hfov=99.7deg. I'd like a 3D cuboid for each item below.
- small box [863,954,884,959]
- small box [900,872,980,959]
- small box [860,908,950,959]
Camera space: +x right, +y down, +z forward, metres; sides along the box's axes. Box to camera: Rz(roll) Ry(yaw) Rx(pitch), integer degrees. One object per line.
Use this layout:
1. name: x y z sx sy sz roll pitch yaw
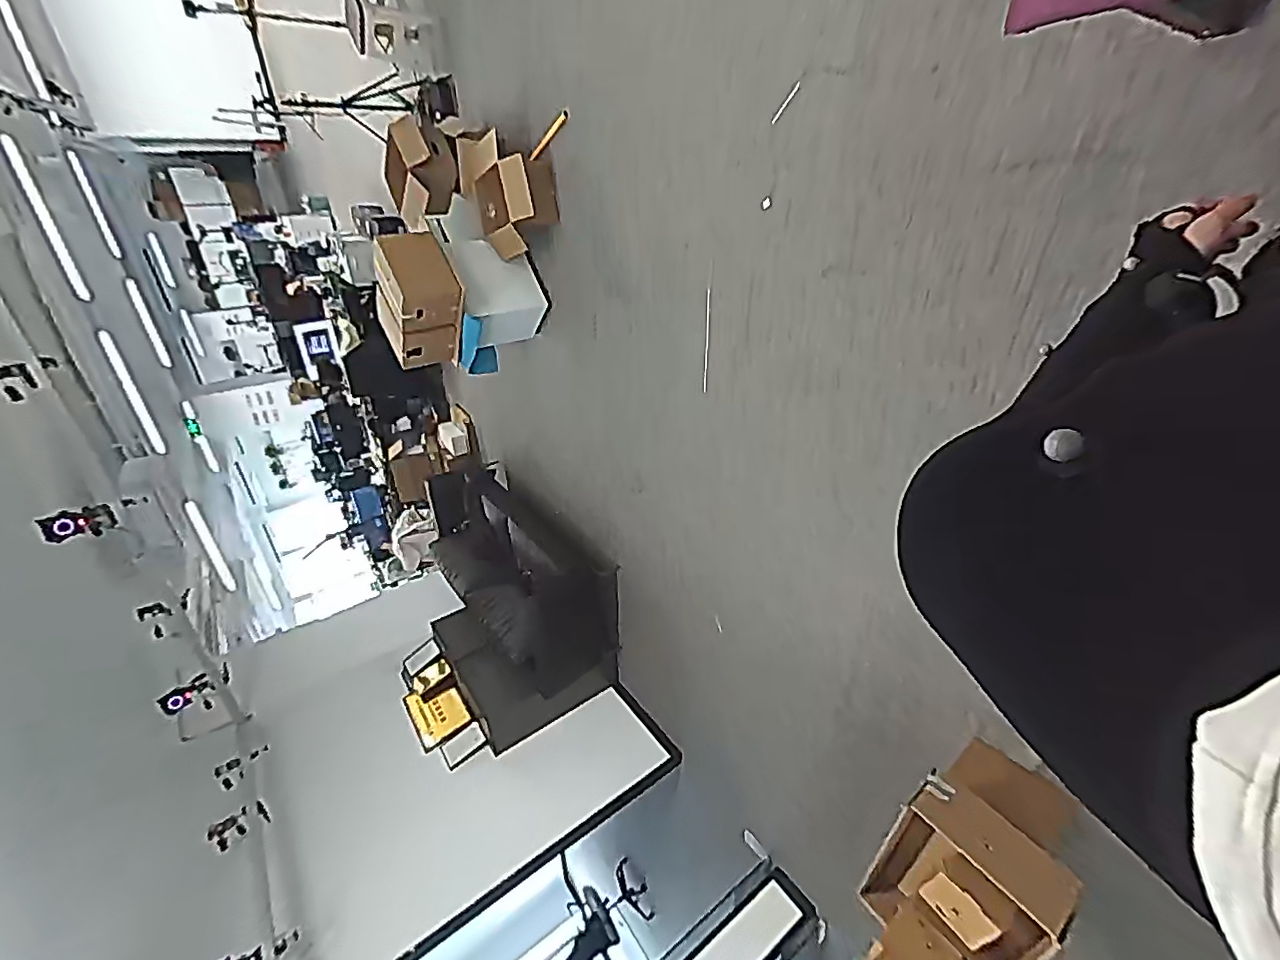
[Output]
1. small box: 0.622 1.434 1.452 0.168 0.176 0.179 44 138 36
2. small box: 0.882 1.342 1.626 0.168 0.176 0.179 36 134 42
3. small box: 0.752 1.384 1.539 0.168 0.176 0.179 36 133 43
